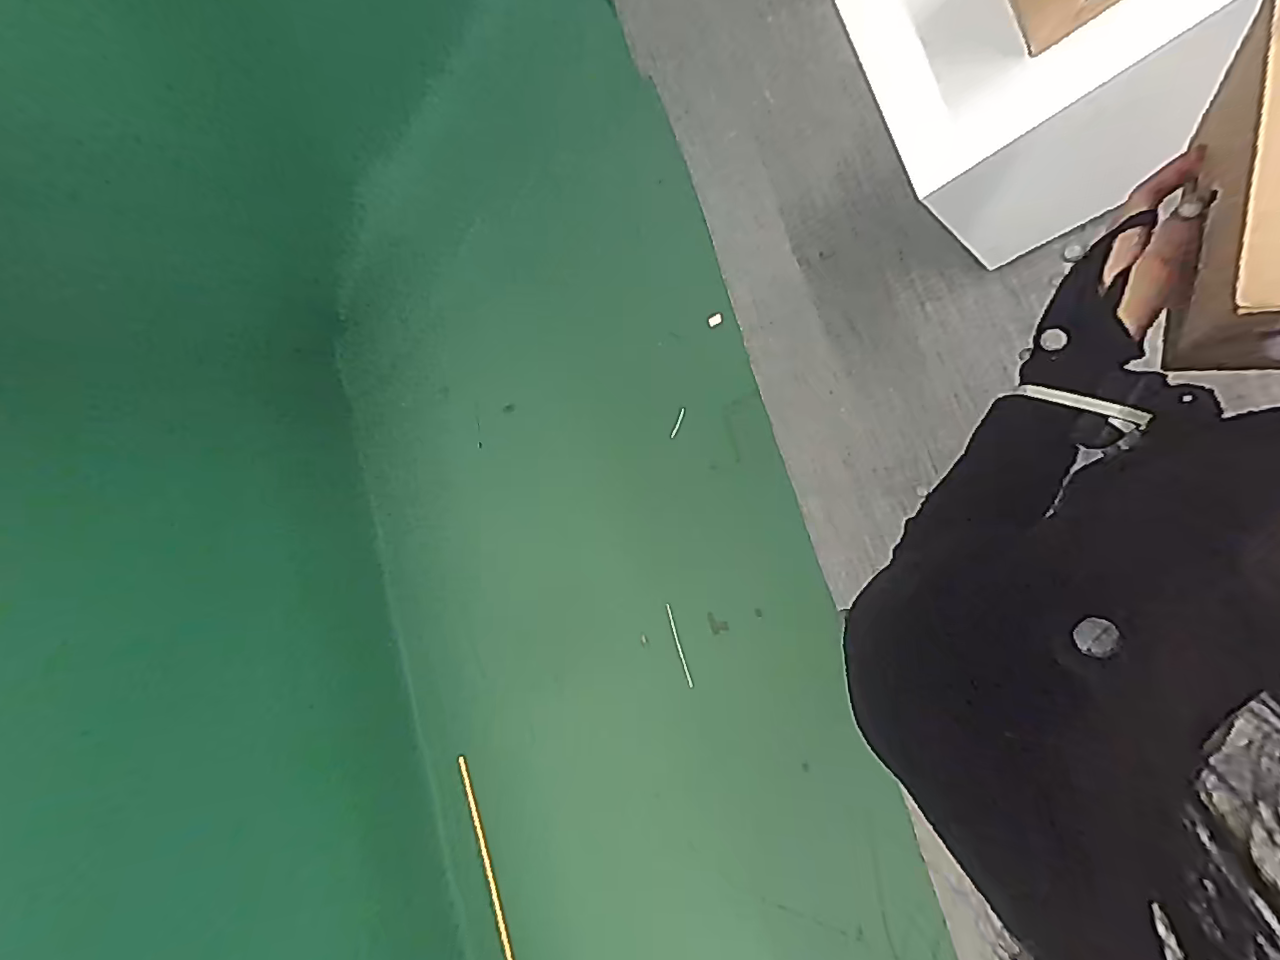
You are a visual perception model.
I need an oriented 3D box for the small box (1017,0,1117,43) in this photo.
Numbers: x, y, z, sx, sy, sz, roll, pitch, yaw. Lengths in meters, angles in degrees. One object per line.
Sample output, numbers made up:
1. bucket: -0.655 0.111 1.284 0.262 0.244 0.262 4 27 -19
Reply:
1. small box: 0.505 -0.659 0.608 0.168 0.176 0.179 -22 80 42
